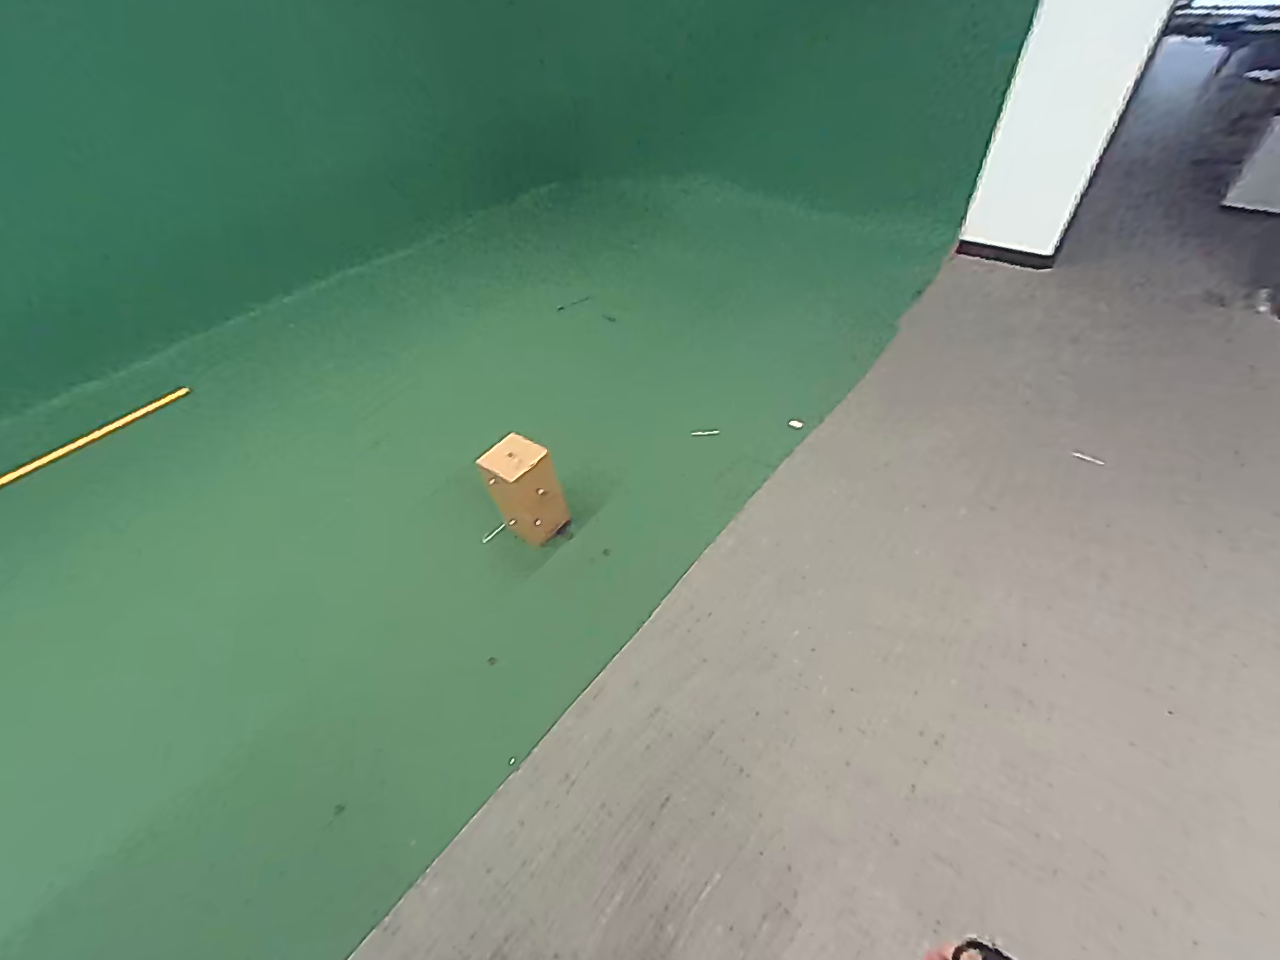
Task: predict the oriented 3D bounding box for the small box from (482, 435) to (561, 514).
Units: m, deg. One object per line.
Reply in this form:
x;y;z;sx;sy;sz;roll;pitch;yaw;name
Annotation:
-0.389;-0.015;1.794;0.179;0.176;0.168;26;55;28;small box
